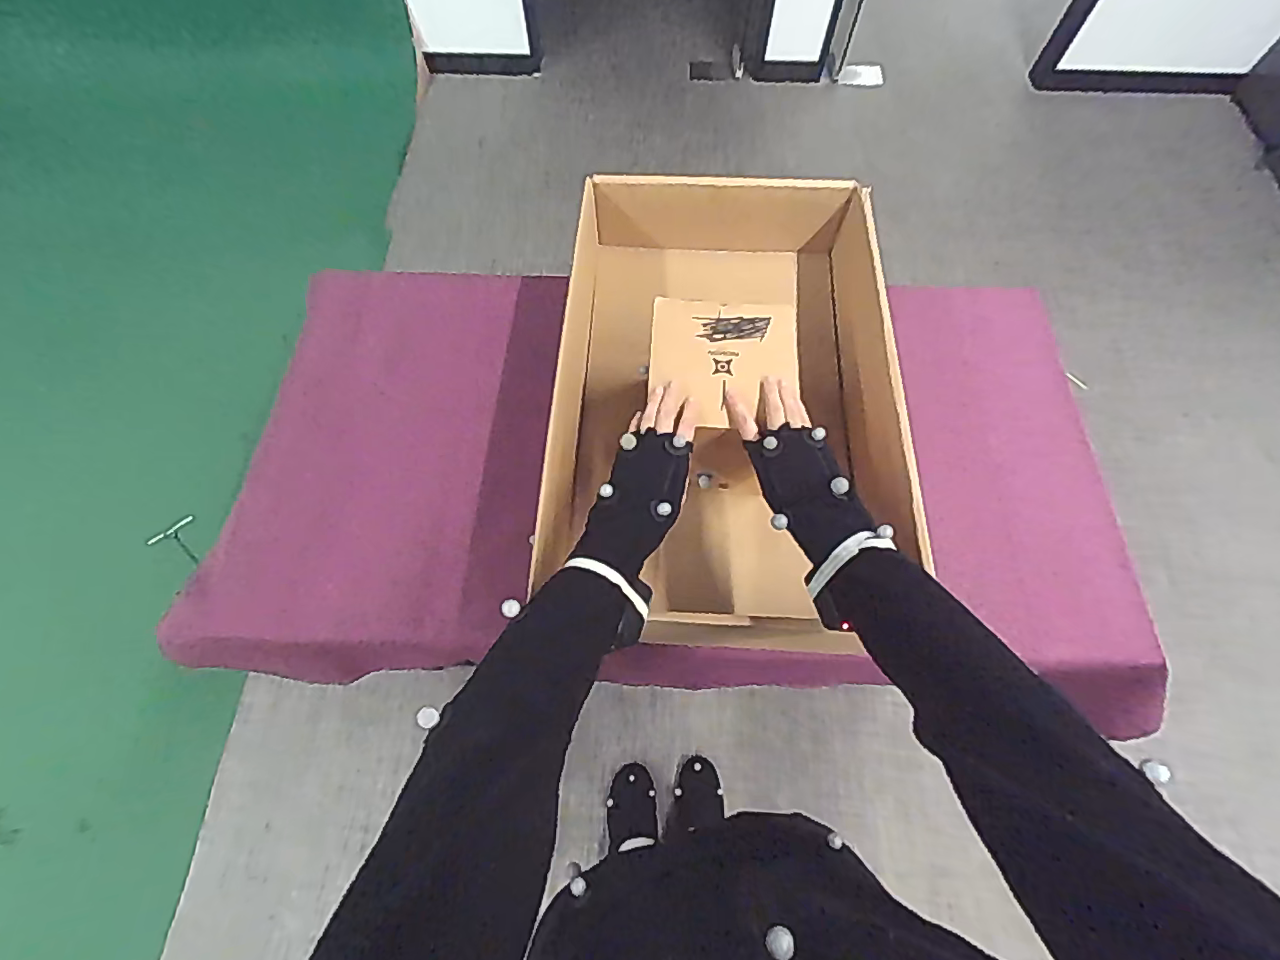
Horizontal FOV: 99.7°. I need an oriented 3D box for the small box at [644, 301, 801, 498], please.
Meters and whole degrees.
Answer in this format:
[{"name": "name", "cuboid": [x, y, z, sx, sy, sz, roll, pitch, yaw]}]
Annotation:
[{"name": "small box", "cuboid": [0.092, -0.094, 0.673, 0.168, 0.176, 0.179, 3, 66, 1]}]
